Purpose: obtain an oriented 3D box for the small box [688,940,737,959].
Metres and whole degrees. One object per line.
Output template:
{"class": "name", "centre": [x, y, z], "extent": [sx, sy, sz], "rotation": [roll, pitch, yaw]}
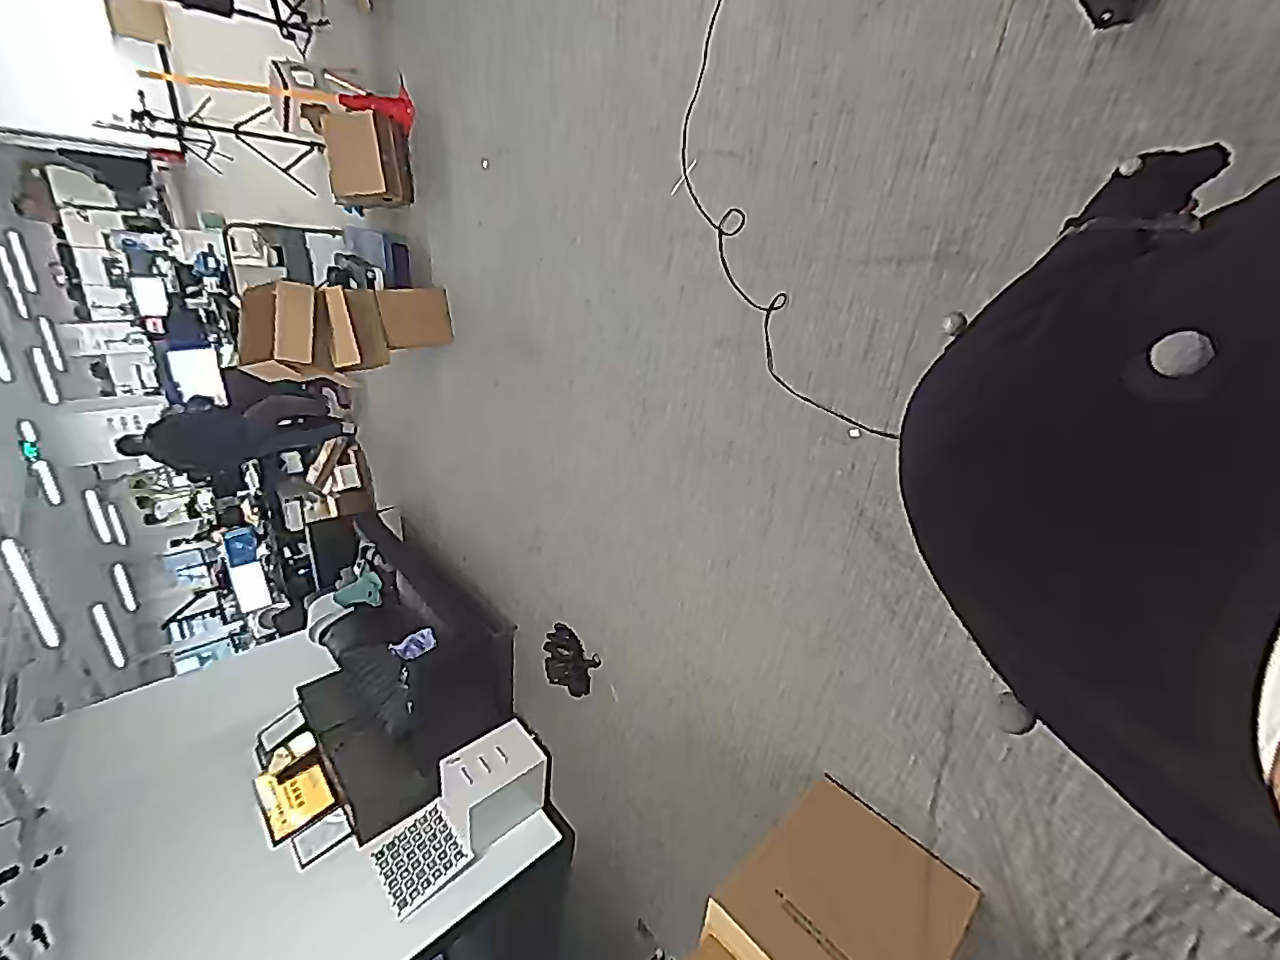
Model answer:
{"class": "small box", "centre": [0.202, 1.408, 1.464], "extent": [0.179, 0.176, 0.168], "rotation": [16, 112, 44]}
